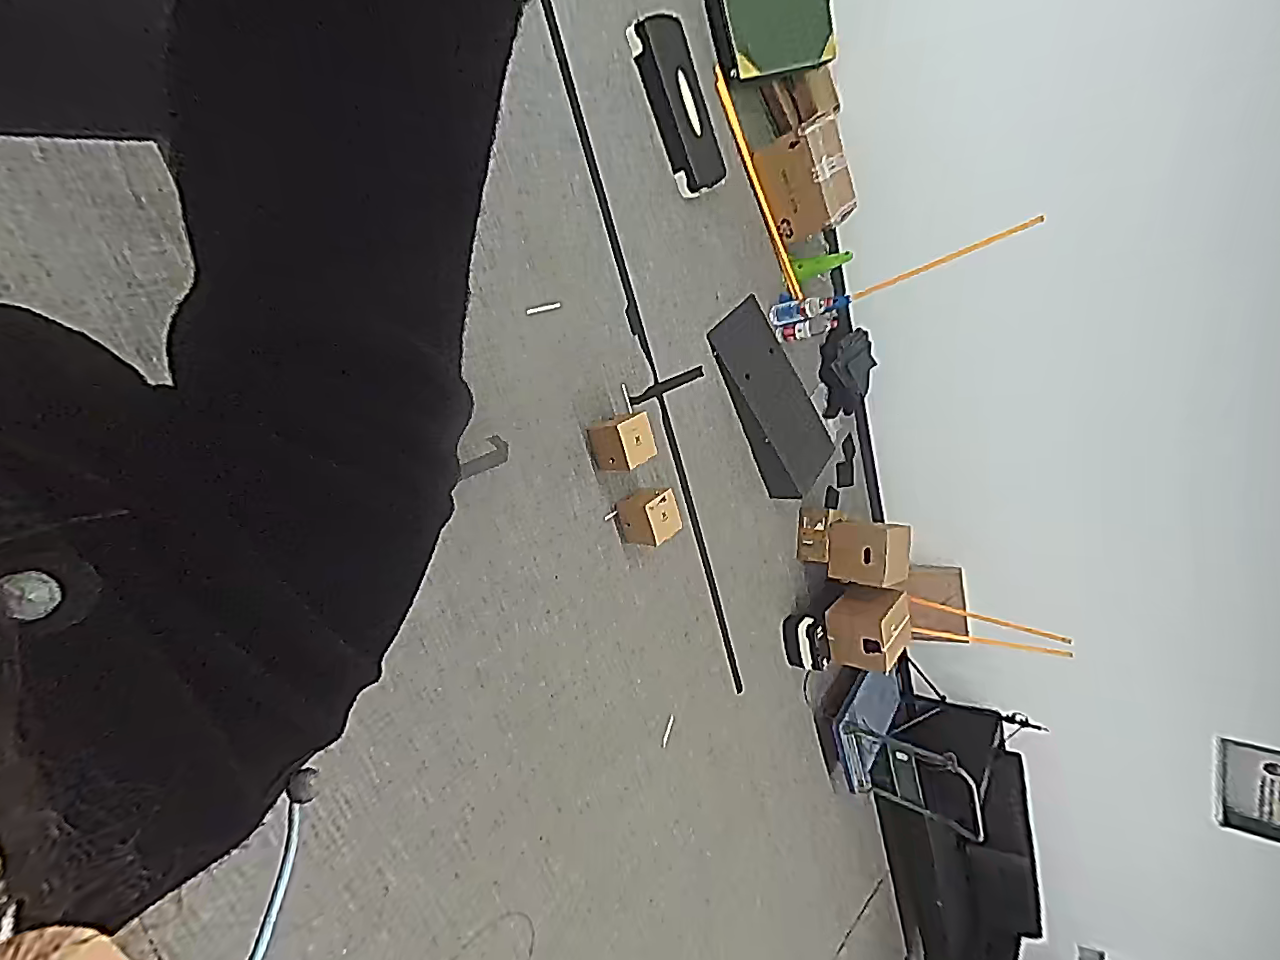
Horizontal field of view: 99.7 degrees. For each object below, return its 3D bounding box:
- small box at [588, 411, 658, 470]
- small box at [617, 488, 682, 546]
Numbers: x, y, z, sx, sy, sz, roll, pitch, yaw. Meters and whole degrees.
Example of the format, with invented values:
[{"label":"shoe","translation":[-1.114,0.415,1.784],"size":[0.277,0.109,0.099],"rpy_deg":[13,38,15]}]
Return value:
[{"label":"small box","translation":[-0.065,-0.148,2.023],"size":[0.168,0.176,0.179],"rpy_deg":[-32,113,-41]},{"label":"small box","translation":[0.036,0.138,2.128],"size":[0.168,0.176,0.179],"rpy_deg":[-32,113,-41]}]
